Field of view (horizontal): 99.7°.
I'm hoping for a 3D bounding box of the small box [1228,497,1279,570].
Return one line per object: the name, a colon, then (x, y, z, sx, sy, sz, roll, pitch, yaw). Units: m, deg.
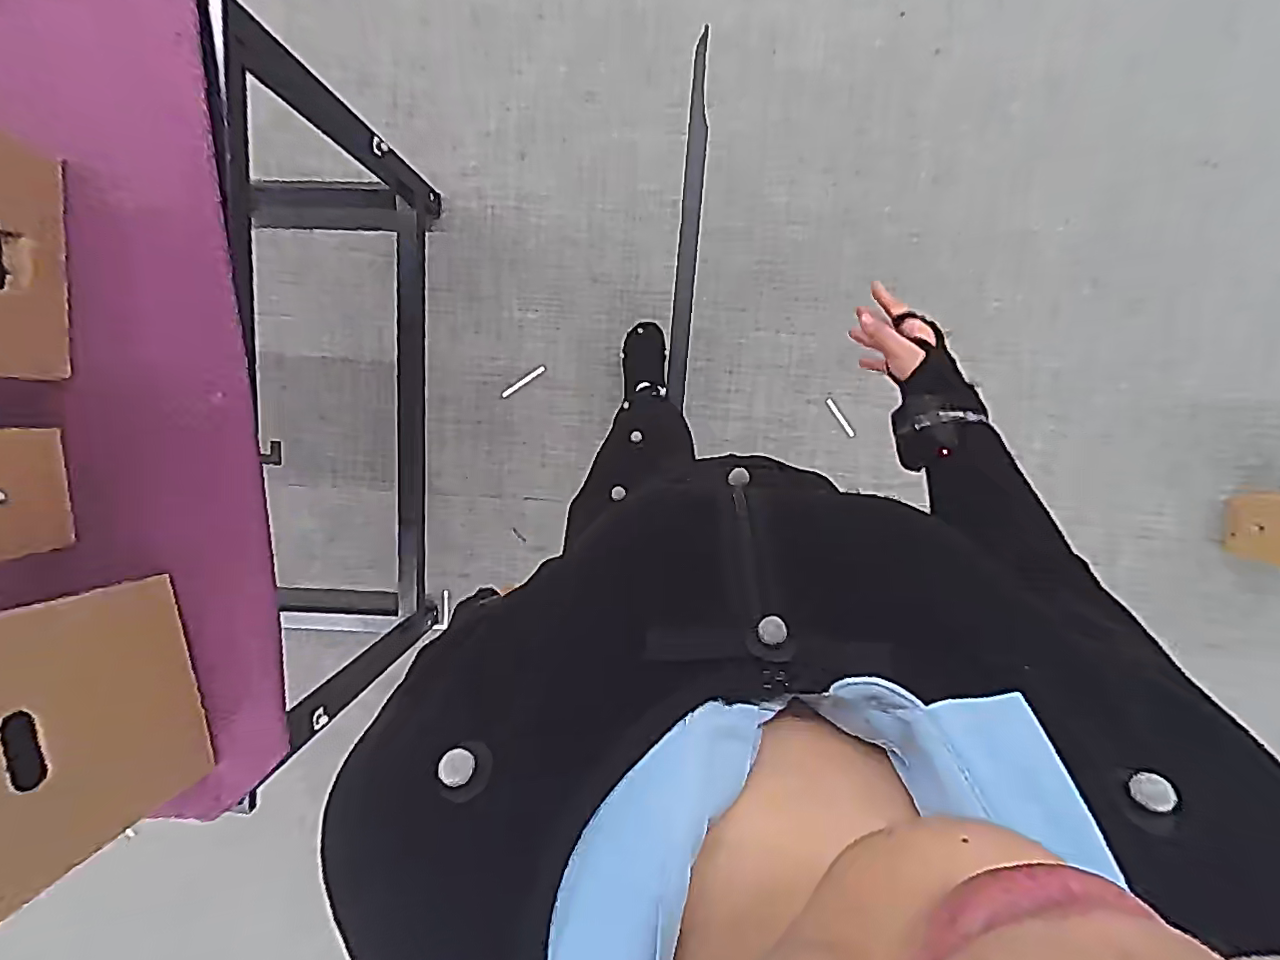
small box: (1.631, 0.137, 1.338, 0.179, 0.176, 0.168, 0, 96, 2)
